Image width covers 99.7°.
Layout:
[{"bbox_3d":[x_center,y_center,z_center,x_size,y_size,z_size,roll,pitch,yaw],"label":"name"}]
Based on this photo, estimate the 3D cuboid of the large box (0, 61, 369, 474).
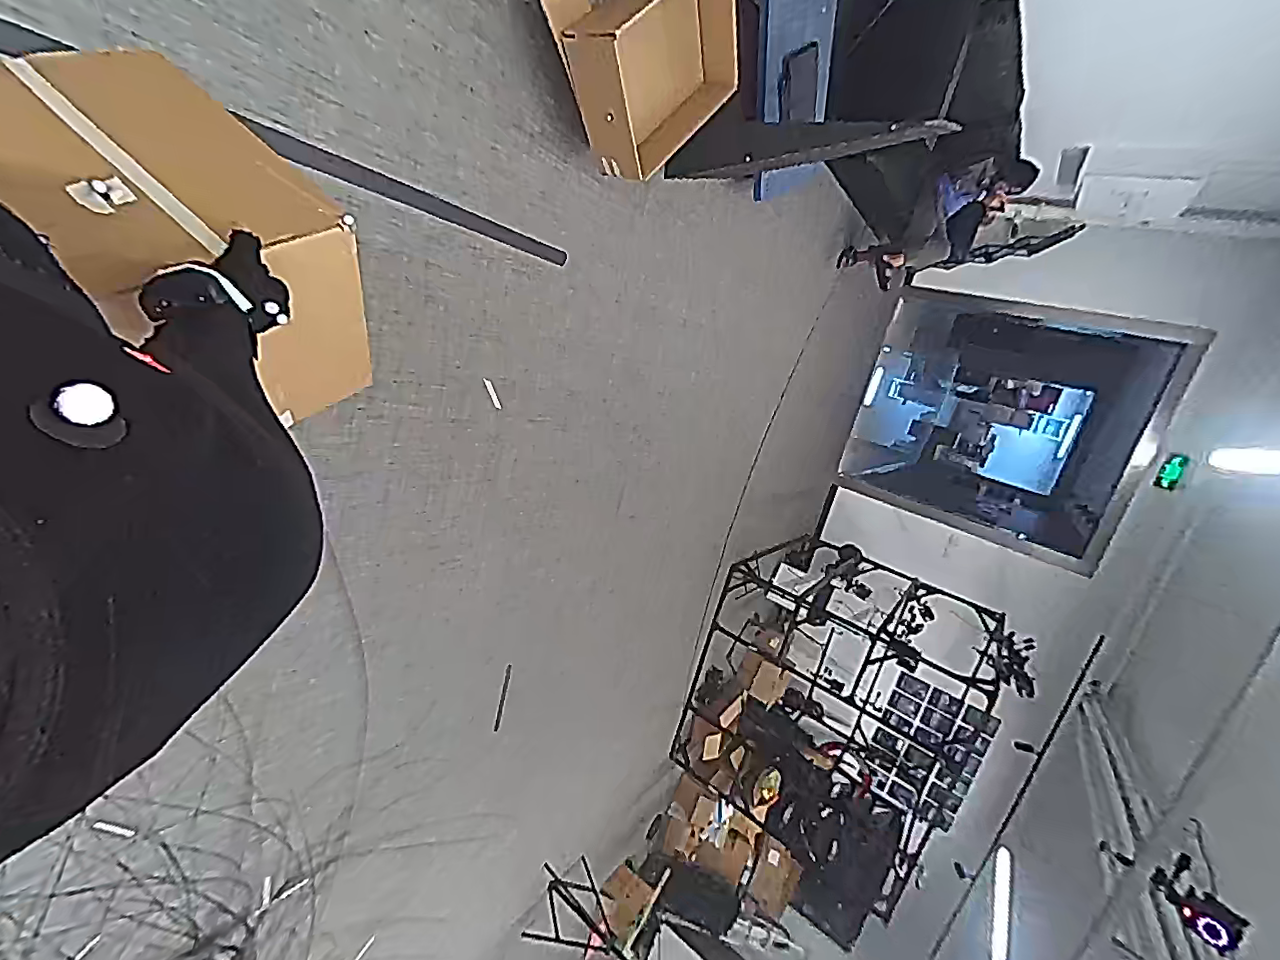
[{"bbox_3d":[-0.654,-0.289,0.753,0.320,0.408,0.320,-44,172,-35],"label":"large box"}]
